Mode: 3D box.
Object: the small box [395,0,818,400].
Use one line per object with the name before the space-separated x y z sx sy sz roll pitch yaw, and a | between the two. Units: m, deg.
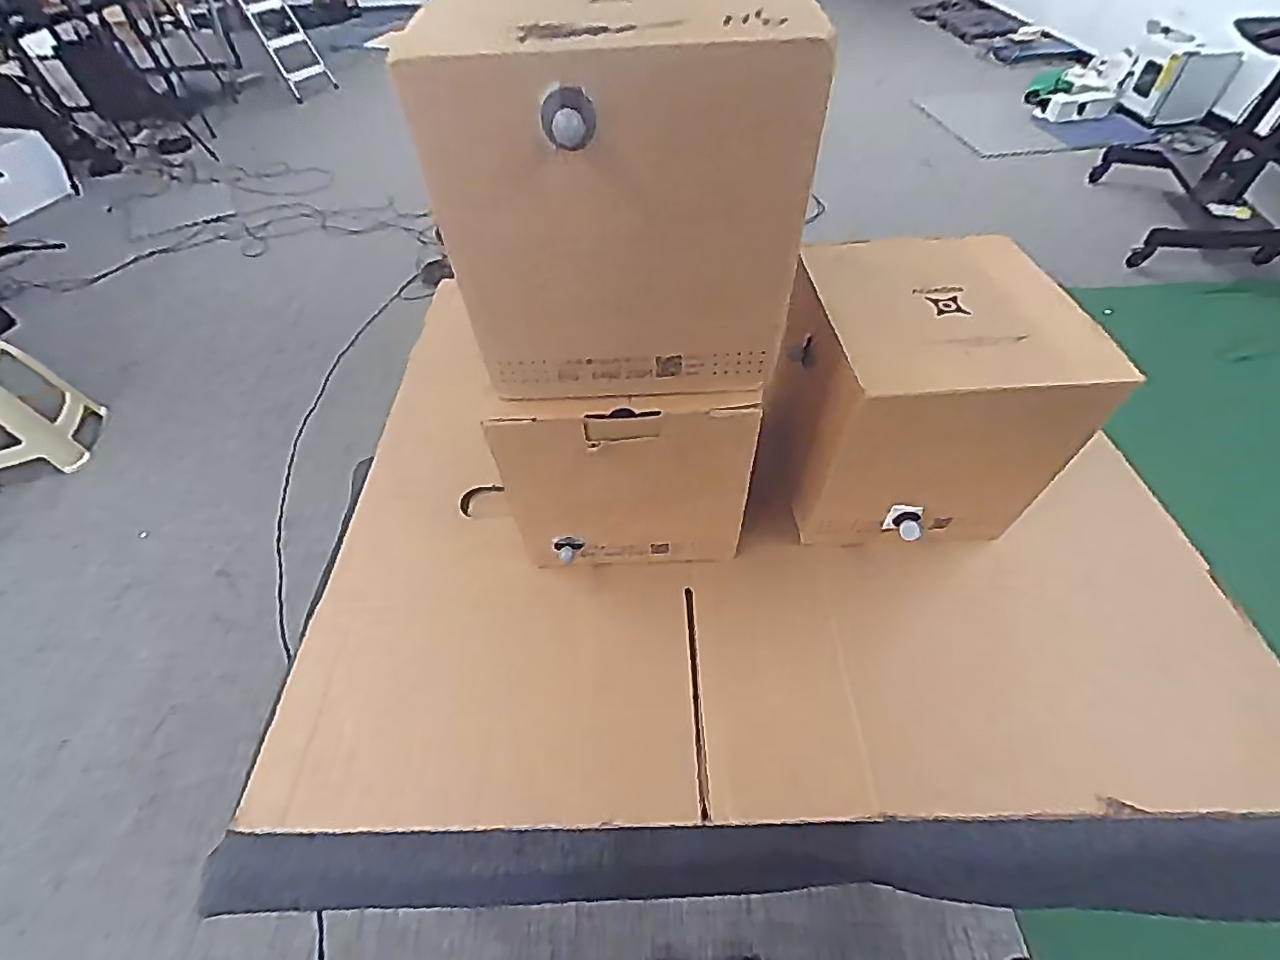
small box | -0.011 -0.166 0.319 0.168 0.176 0.179 -2 51 2
